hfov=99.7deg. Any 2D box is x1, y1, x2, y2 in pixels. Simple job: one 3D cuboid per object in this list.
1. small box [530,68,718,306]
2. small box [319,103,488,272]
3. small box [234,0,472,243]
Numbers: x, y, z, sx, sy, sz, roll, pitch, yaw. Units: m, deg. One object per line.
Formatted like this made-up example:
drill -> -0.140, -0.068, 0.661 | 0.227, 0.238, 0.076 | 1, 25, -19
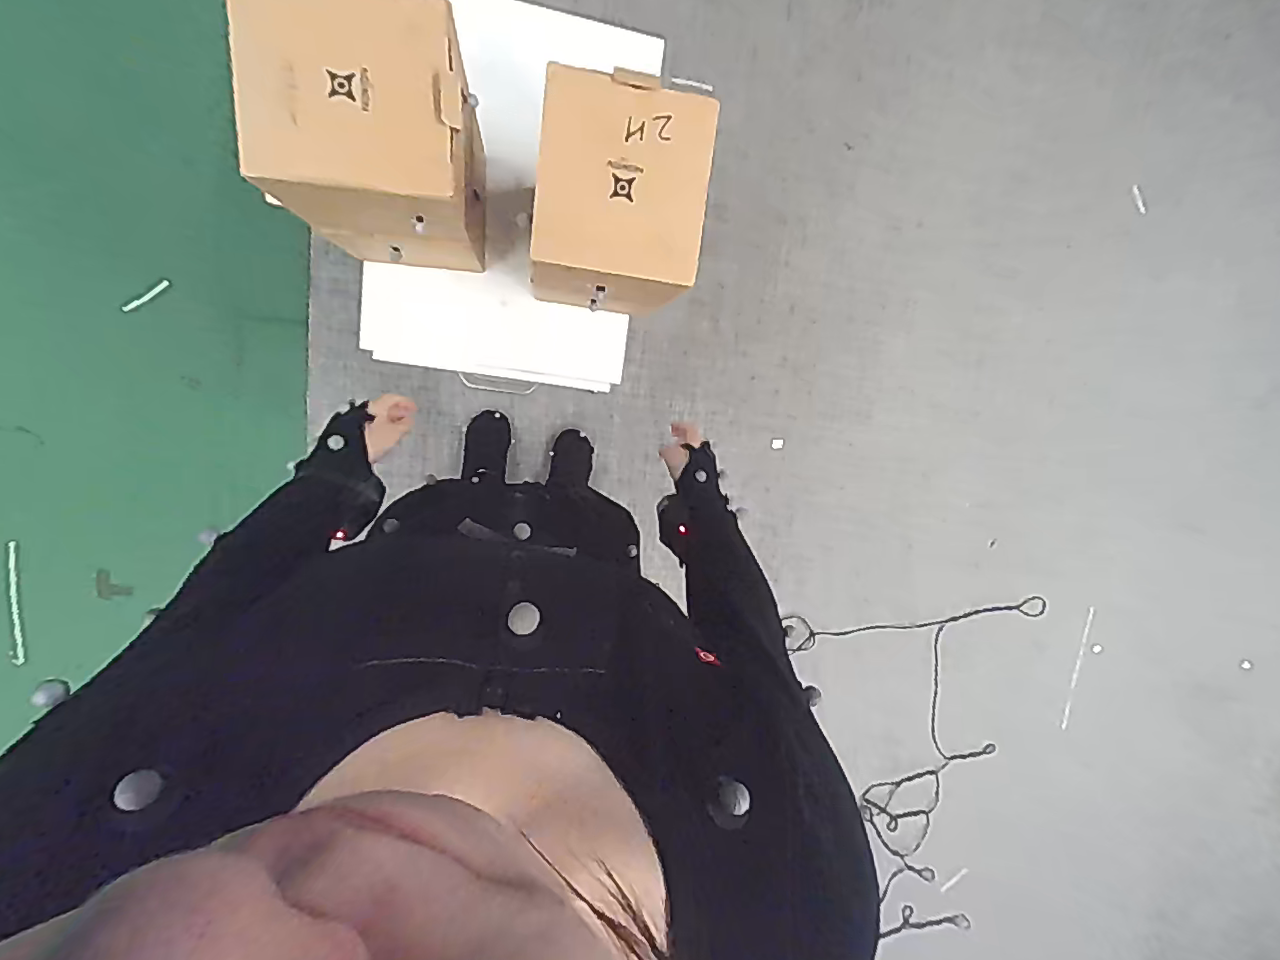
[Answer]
small box -> -0.027, -0.299, 0.598 | 0.168, 0.176, 0.179 | 6, 99, -11
small box -> -0.297, -0.378, 0.705 | 0.179, 0.176, 0.168 | 1, 101, -12
small box -> -0.266, -0.349, 0.546 | 0.179, 0.176, 0.168 | 0, 100, -11
